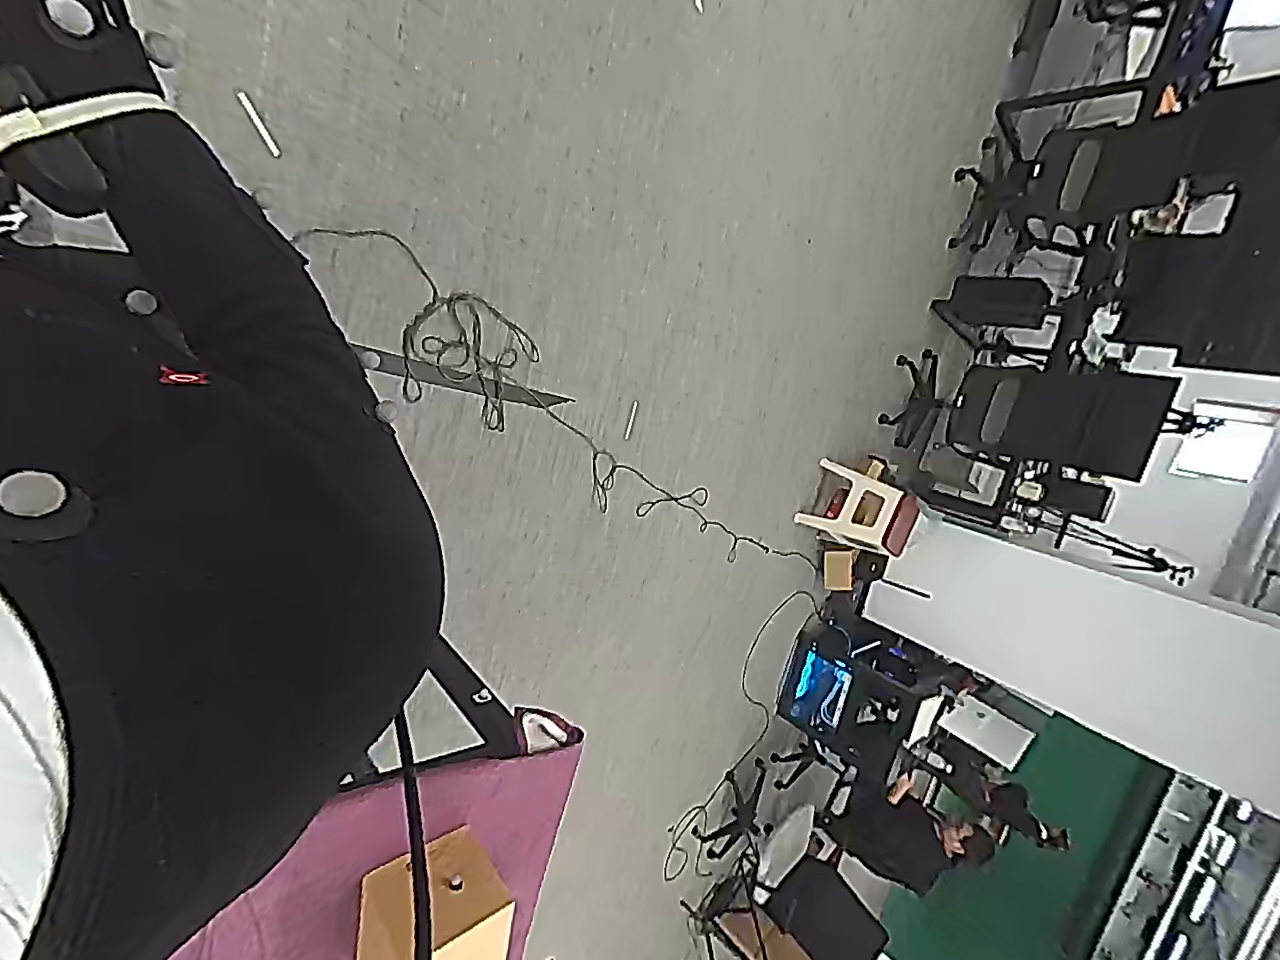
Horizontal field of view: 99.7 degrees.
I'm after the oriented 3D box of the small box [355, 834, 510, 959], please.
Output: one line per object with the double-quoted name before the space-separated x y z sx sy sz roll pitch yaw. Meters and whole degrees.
"small box" -0.321 0.688 0.825 0.168 0.176 0.179 -2 108 -44
